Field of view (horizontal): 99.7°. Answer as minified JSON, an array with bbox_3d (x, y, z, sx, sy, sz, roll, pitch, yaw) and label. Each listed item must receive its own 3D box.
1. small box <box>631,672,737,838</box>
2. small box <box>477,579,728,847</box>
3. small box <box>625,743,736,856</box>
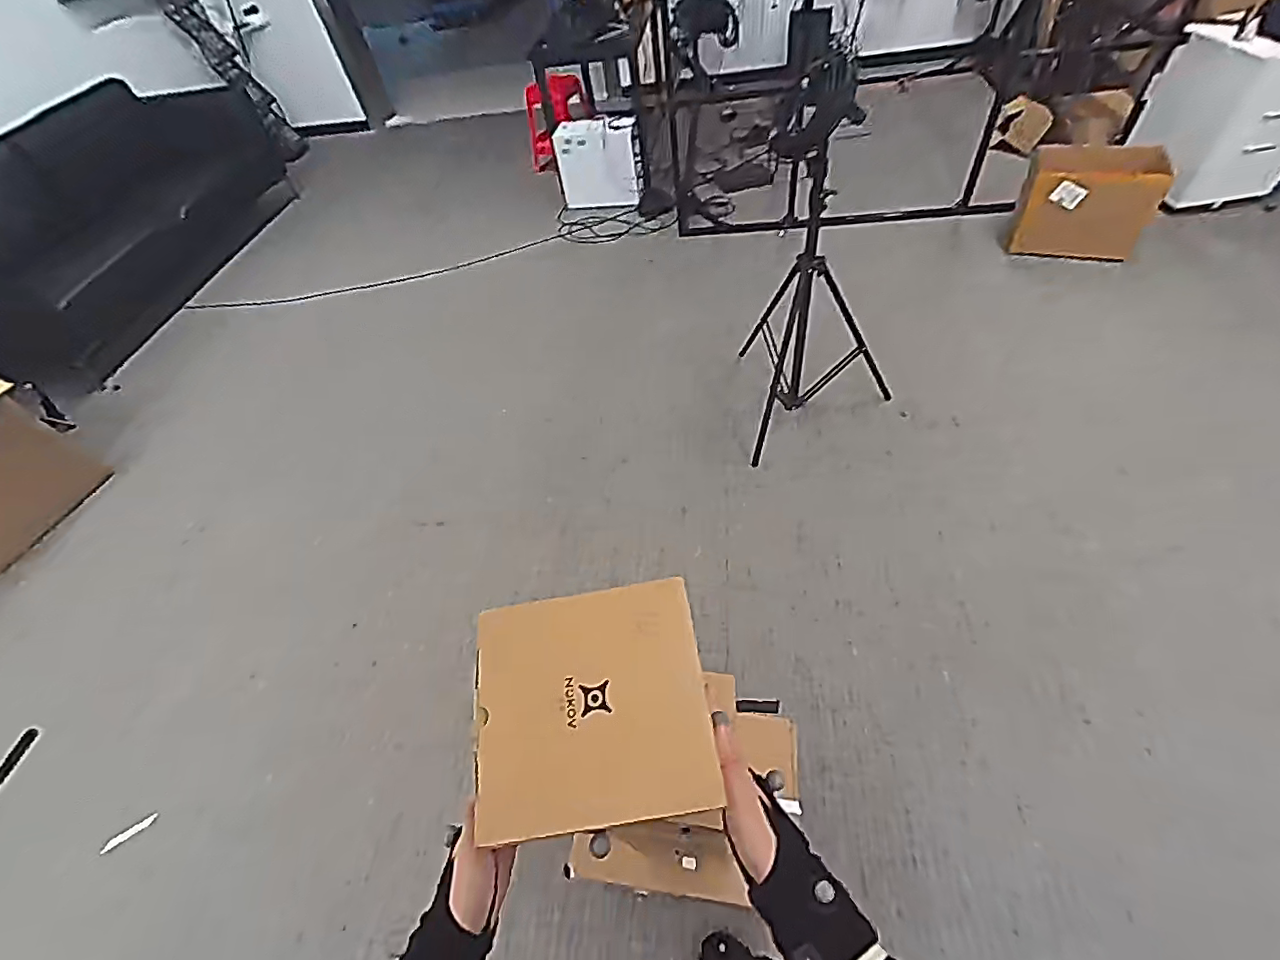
[{"bbox_3d":[0.032,0.349,0.697,0.179,0.176,0.168,2,52,12],"label":"small box"},{"bbox_3d":[-0.029,0.202,0.472,0.179,0.176,0.168,-11,60,1],"label":"small box"},{"bbox_3d":[0.079,0.553,0.951,0.179,0.176,0.168,0,53,9],"label":"small box"}]
